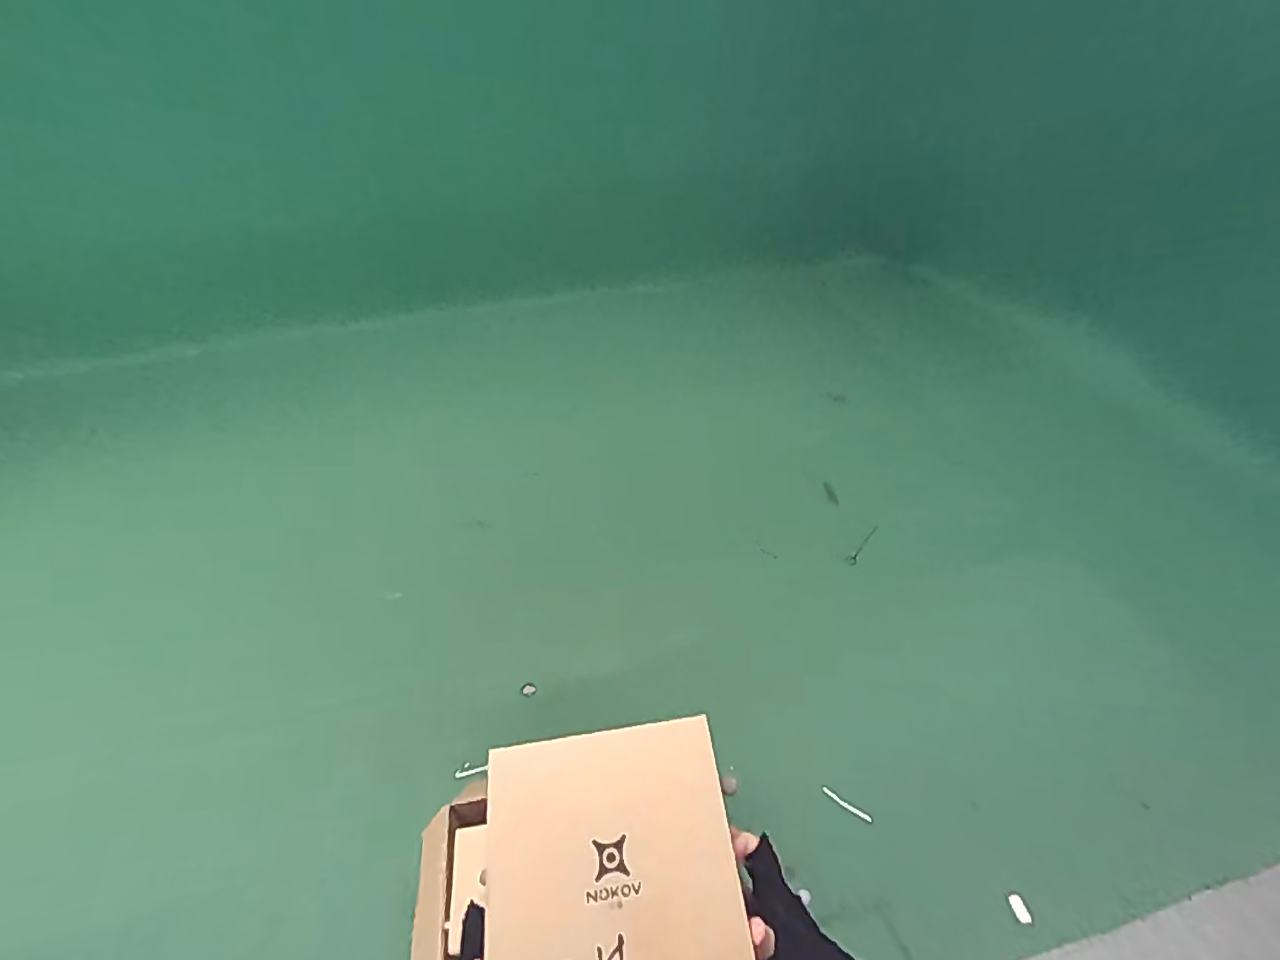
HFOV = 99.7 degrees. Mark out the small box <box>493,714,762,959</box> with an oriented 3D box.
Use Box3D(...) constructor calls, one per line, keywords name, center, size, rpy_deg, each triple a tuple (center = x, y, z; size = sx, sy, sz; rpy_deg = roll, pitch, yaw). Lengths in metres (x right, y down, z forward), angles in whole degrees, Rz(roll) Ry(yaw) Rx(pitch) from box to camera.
Box3D(name="small box", center=(-0.011, 0.302, 0.421), size=(0.168, 0.176, 0.179), rpy_deg=(-7, 55, -2))
